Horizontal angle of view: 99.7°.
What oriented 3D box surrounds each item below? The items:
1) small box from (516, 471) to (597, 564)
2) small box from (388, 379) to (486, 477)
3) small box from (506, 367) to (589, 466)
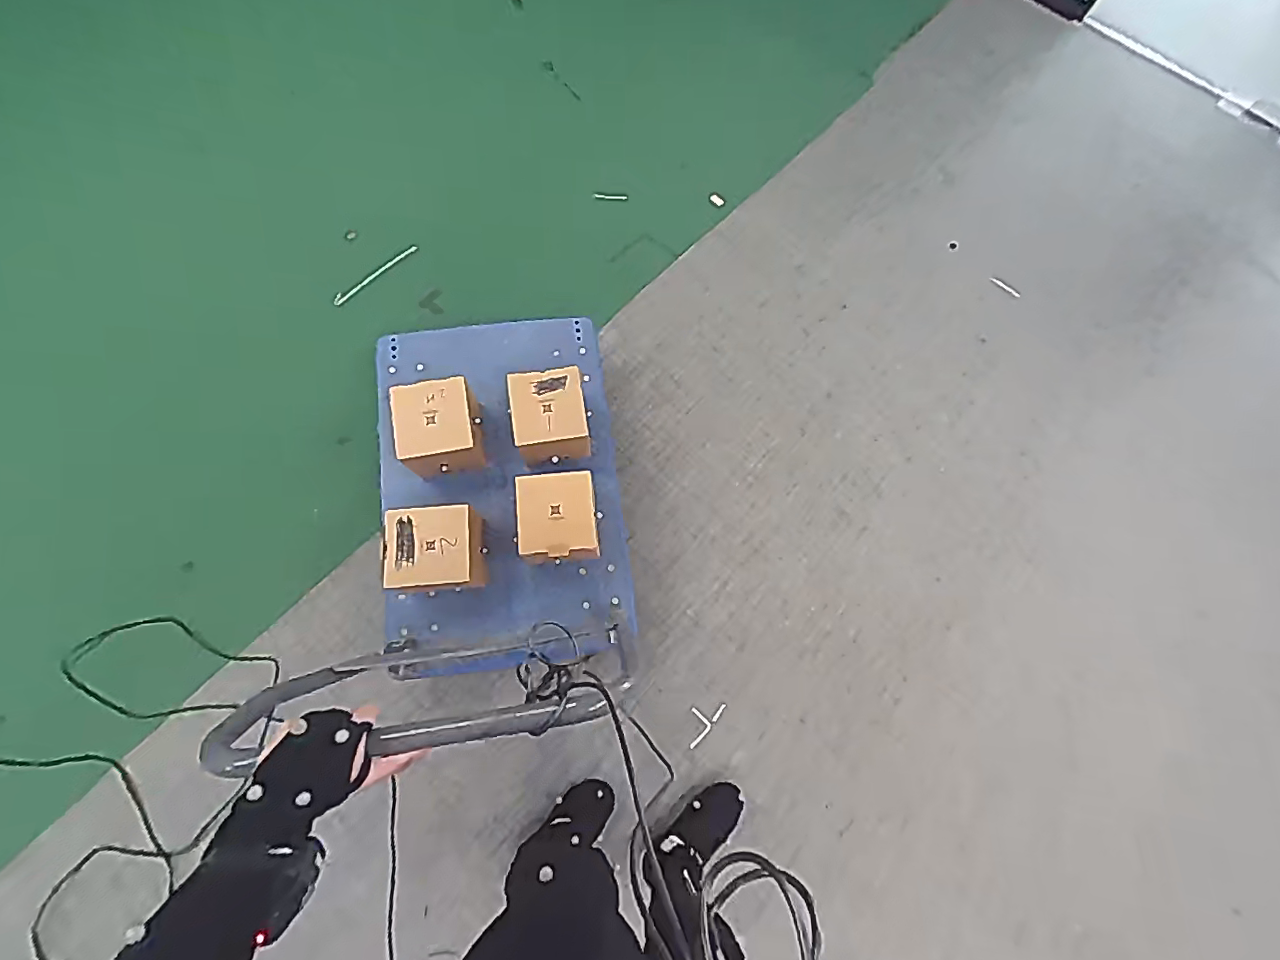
[{"bbox_3d":[-0.187,0.090,1.238,0.168,0.176,0.179,-6,77,-4],"label":"small box"},{"bbox_3d":[-0.470,-0.114,1.272,0.168,0.176,0.179,-11,77,-7],"label":"small box"},{"bbox_3d":[-0.217,-0.148,1.294,0.168,0.176,0.179,-9,77,-5],"label":"small box"}]
